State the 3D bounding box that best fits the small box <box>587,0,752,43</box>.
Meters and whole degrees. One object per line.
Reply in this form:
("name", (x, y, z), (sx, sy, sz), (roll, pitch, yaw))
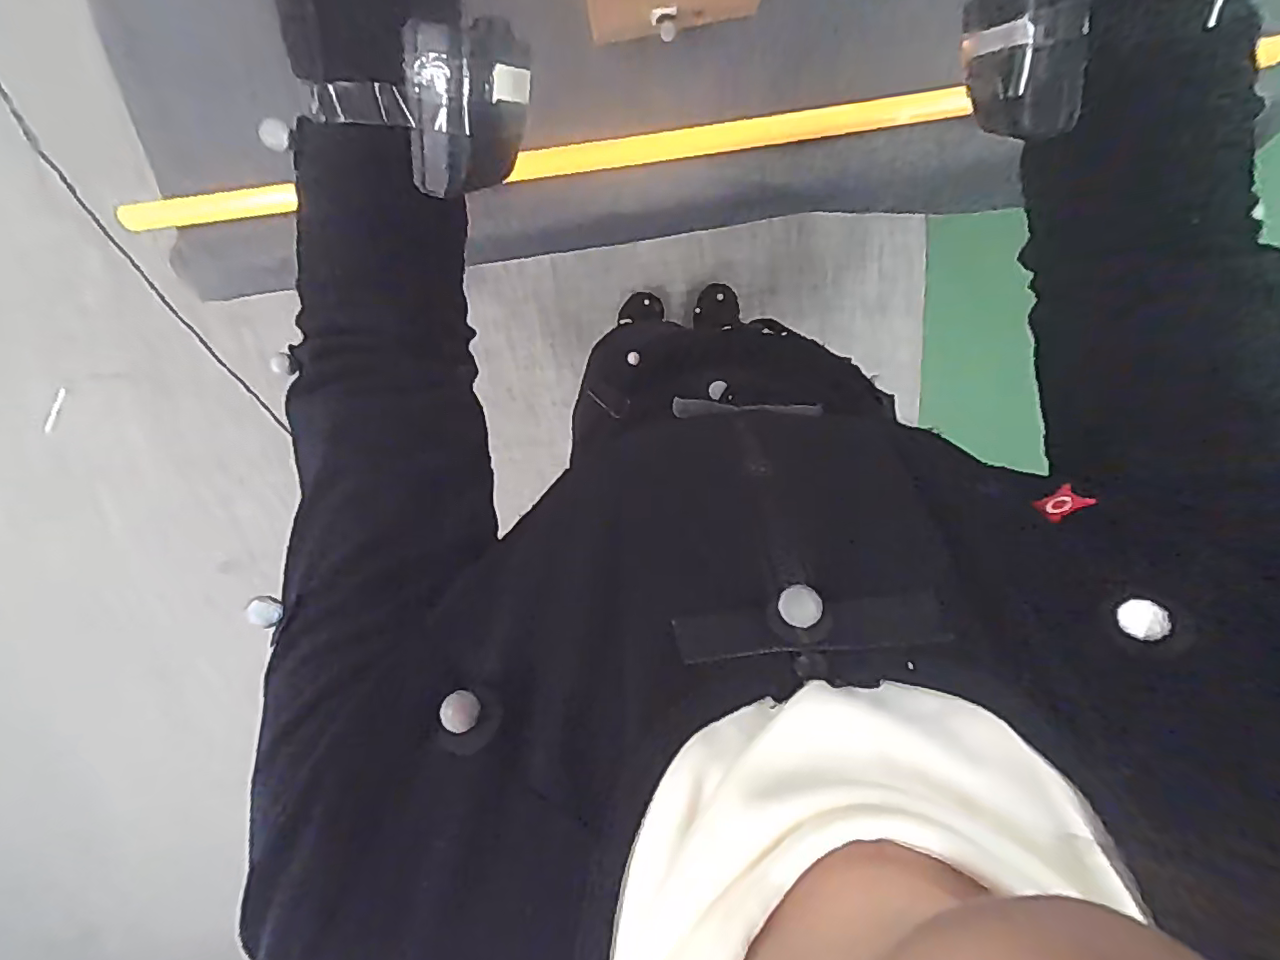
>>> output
("small box", (0.019, -0.514, 0.449), (0.168, 0.176, 0.179), (-9, 110, 4))
